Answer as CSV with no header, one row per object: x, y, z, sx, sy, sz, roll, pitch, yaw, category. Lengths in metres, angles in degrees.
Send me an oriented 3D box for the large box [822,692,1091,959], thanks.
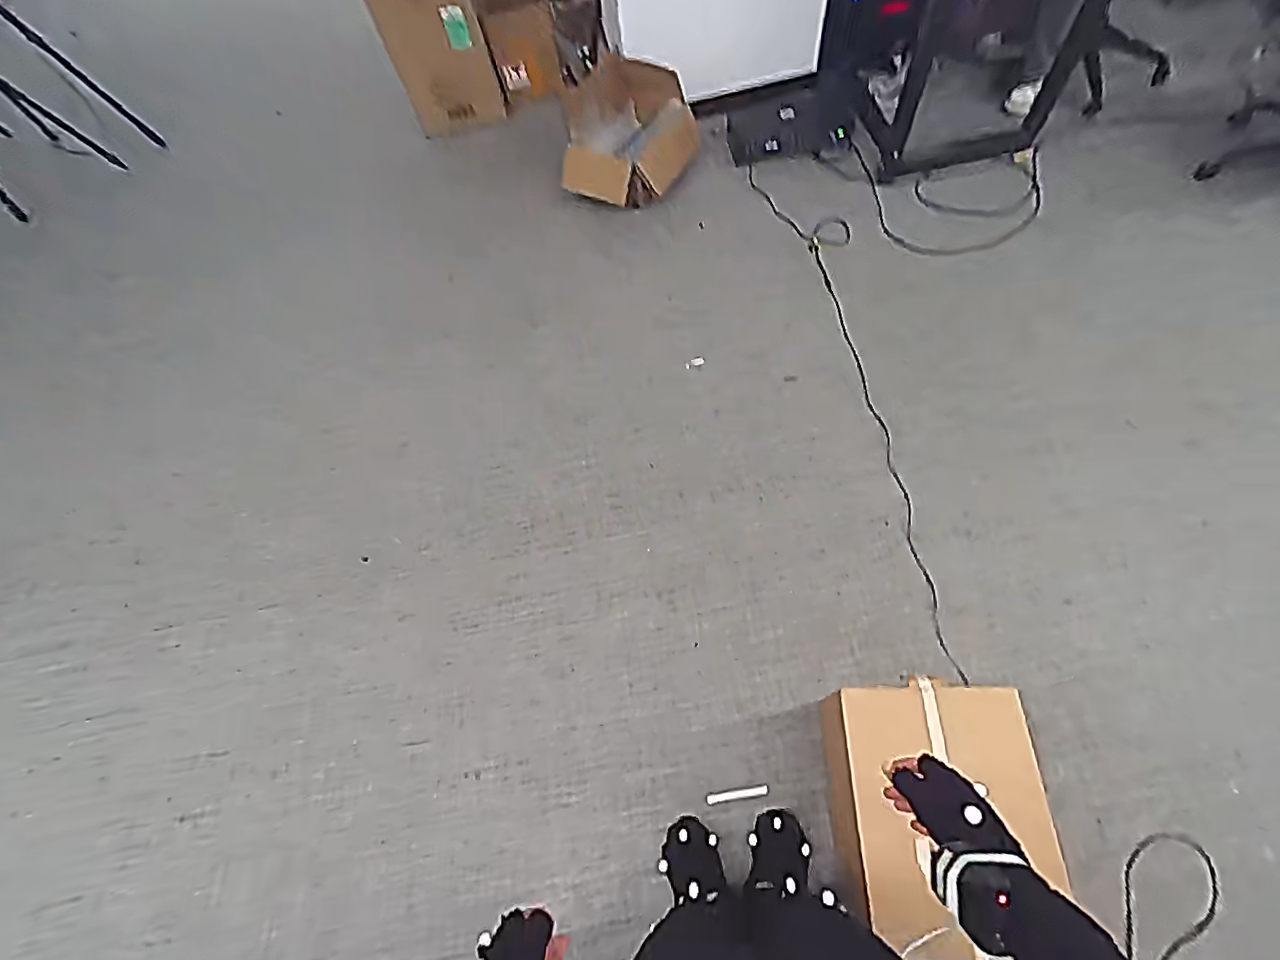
0.565,0.643,1.064,0.320,0.320,0.408,-3,64,8,large box
